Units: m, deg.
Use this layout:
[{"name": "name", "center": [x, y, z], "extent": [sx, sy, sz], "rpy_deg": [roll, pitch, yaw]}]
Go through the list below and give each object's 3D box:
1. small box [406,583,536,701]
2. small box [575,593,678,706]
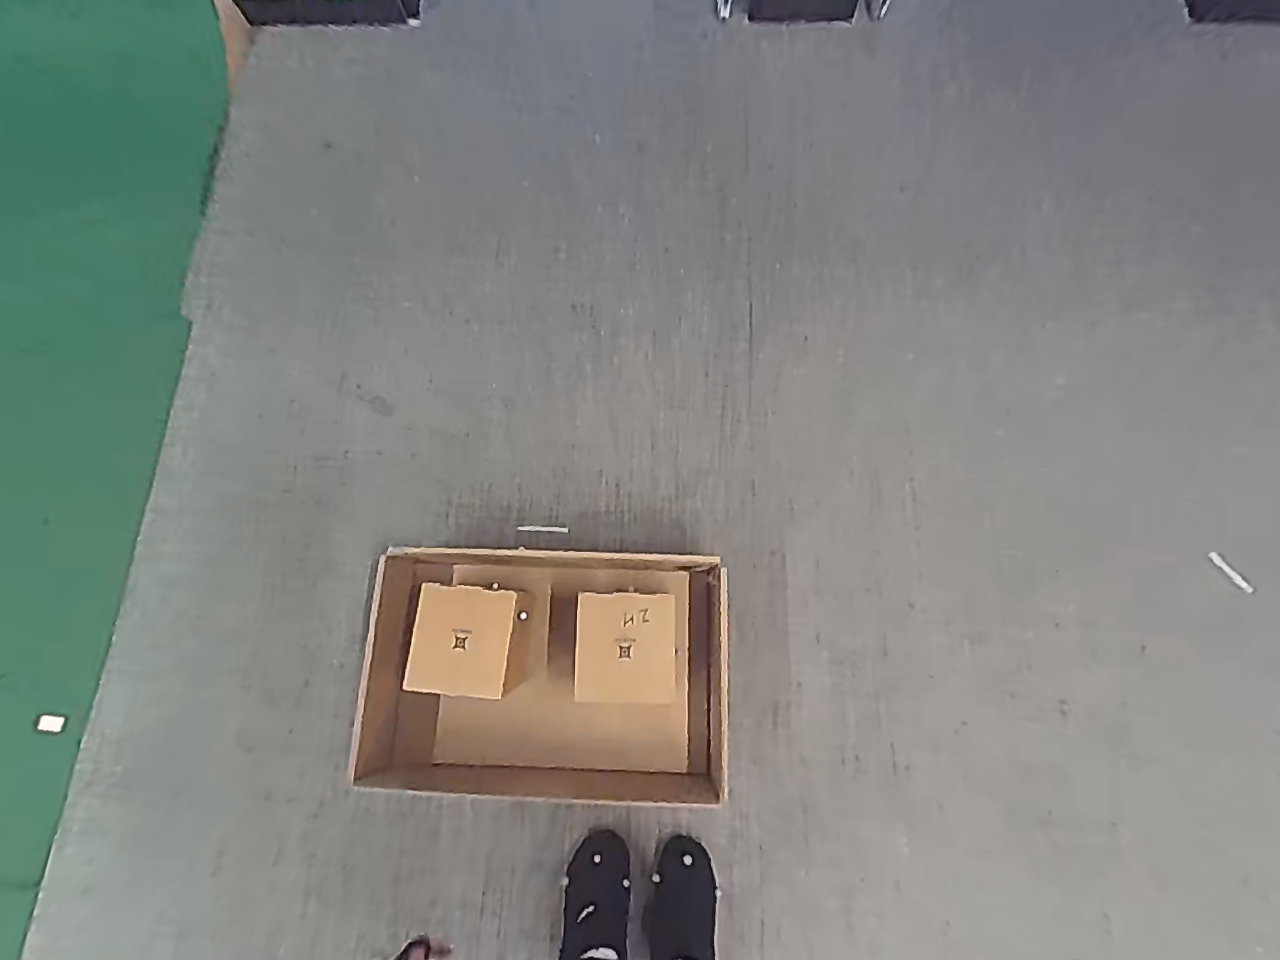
[{"name": "small box", "center": [-0.292, 0.286, 0.975], "extent": [0.168, 0.176, 0.179], "rpy_deg": [5, 76, 2]}, {"name": "small box", "center": [-0.018, 0.294, 0.964], "extent": [0.168, 0.176, 0.179], "rpy_deg": [1, 77, 2]}]
